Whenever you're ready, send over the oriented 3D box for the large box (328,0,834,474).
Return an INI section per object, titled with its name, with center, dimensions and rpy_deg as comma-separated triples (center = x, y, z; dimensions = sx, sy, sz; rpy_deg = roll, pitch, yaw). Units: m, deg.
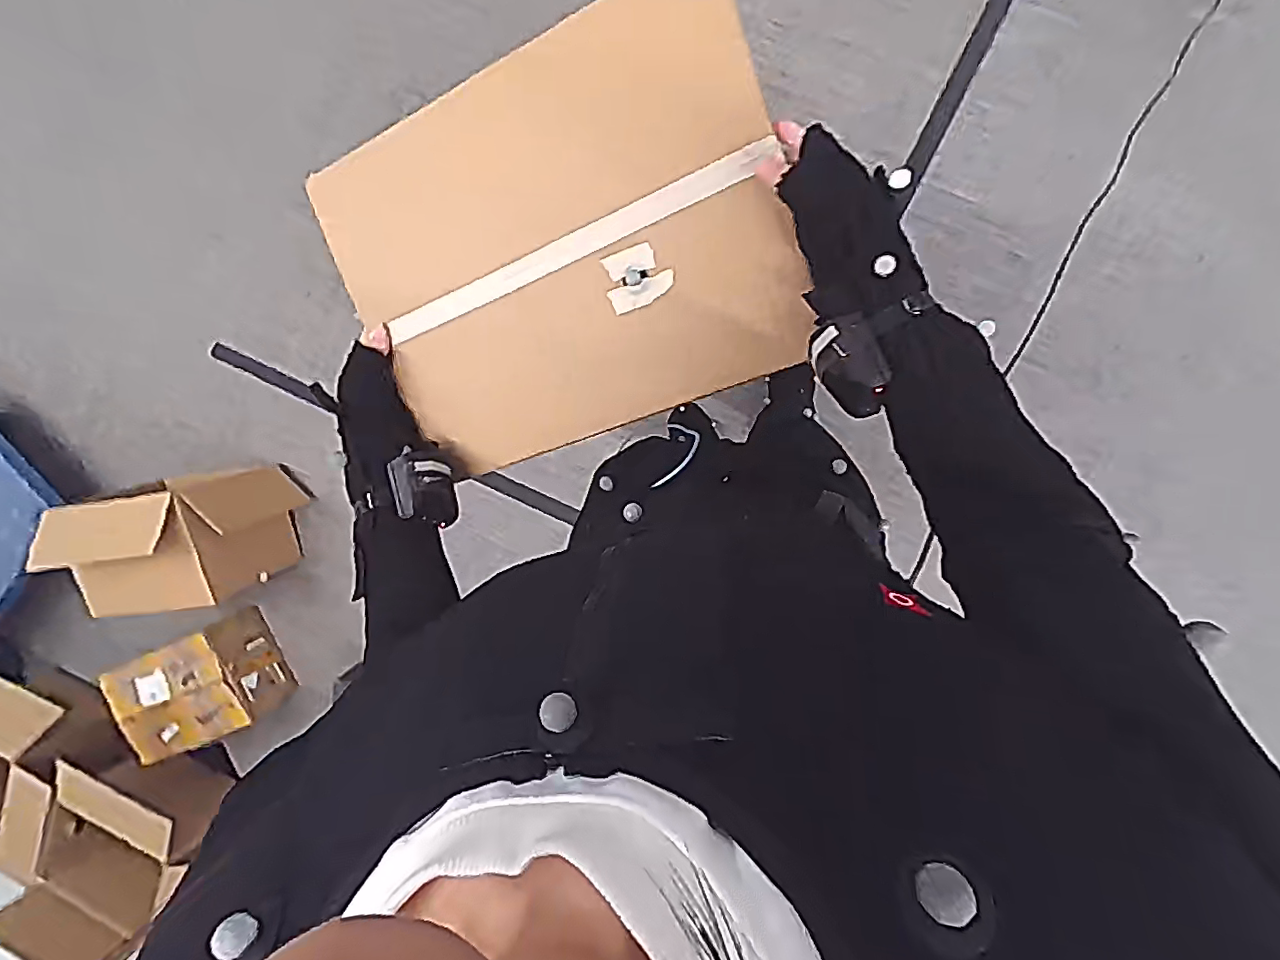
[large box]
center = -0.038, -0.239, 0.622
dimensions = 0.408, 0.320, 0.320
rpy_deg = -18, 100, 17
